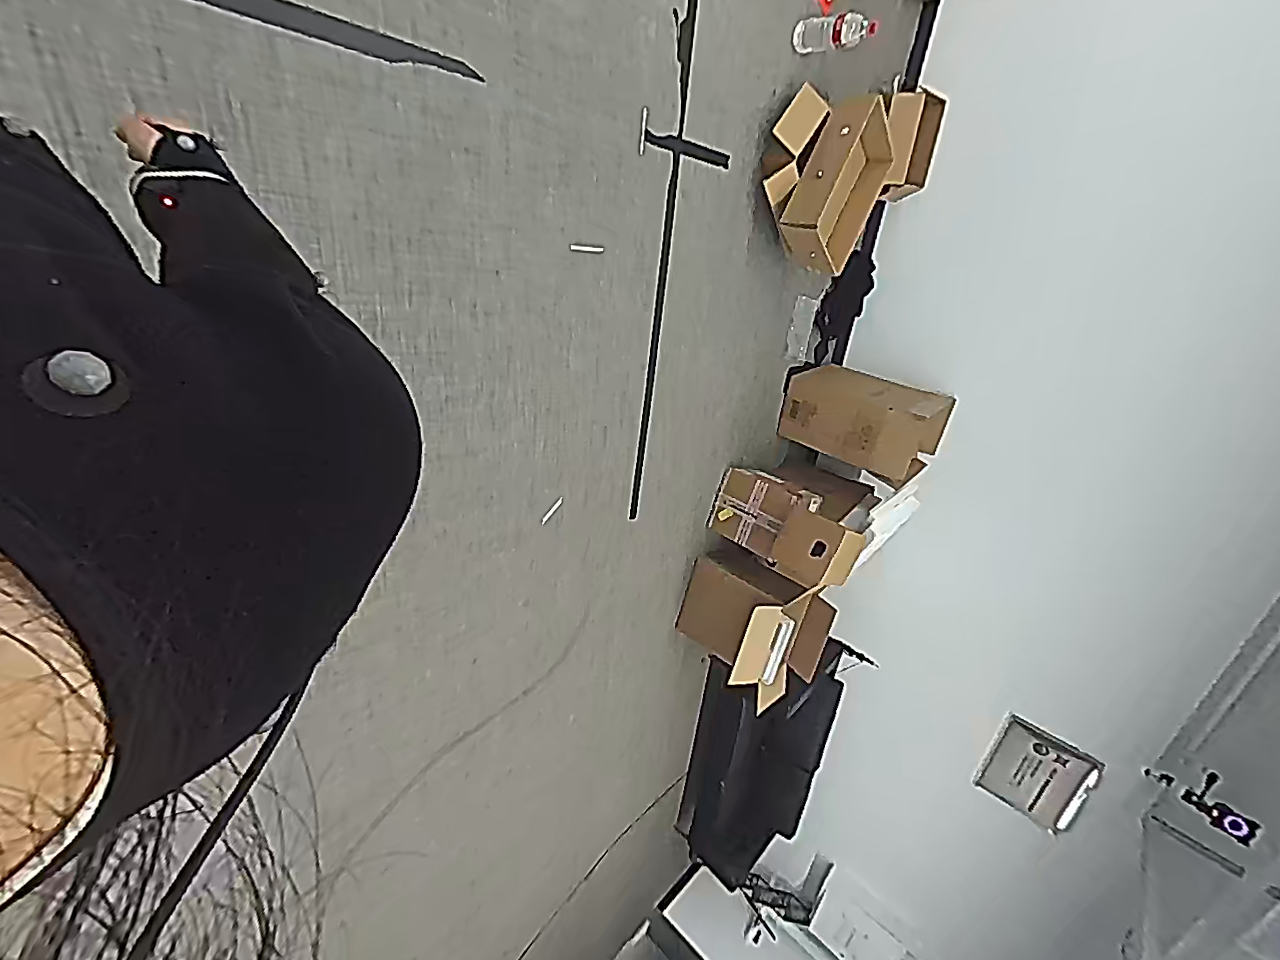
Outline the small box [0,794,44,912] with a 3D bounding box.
[{"bbox_3d":[-1.442,0.833,1.171,0.168,0.176,0.179,-21,128,-43],"label":"small box"}]
